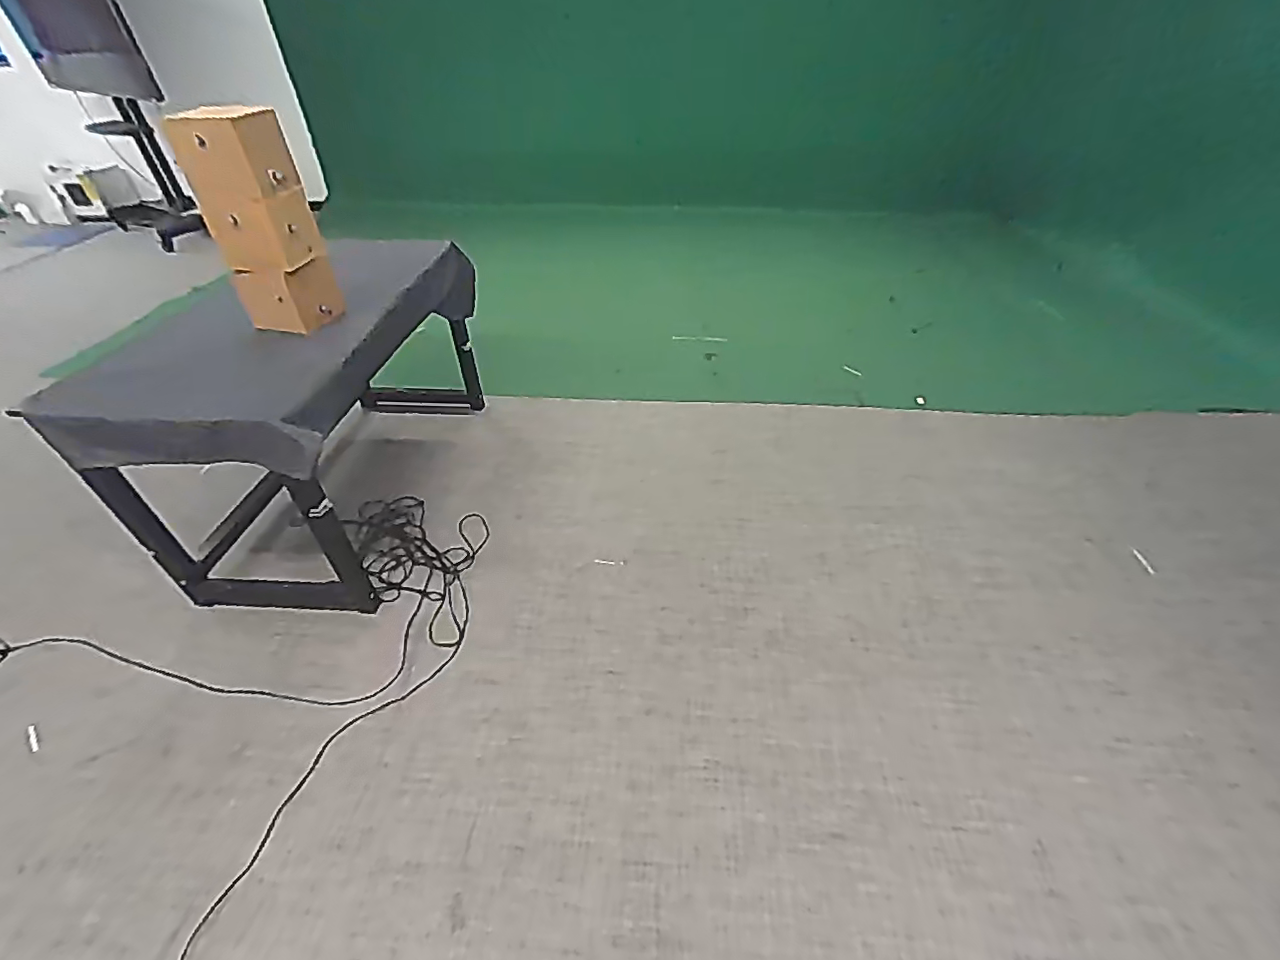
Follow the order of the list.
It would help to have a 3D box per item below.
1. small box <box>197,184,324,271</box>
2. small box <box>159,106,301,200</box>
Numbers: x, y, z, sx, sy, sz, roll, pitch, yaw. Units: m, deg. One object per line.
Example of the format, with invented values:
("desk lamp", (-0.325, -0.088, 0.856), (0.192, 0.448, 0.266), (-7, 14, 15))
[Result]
("small box", (-0.955, -0.647, 1.383), (0.179, 0.176, 0.168), (4, 41, 5))
("small box", (-0.958, -0.775, 1.283), (0.179, 0.176, 0.168), (3, 42, 3))
